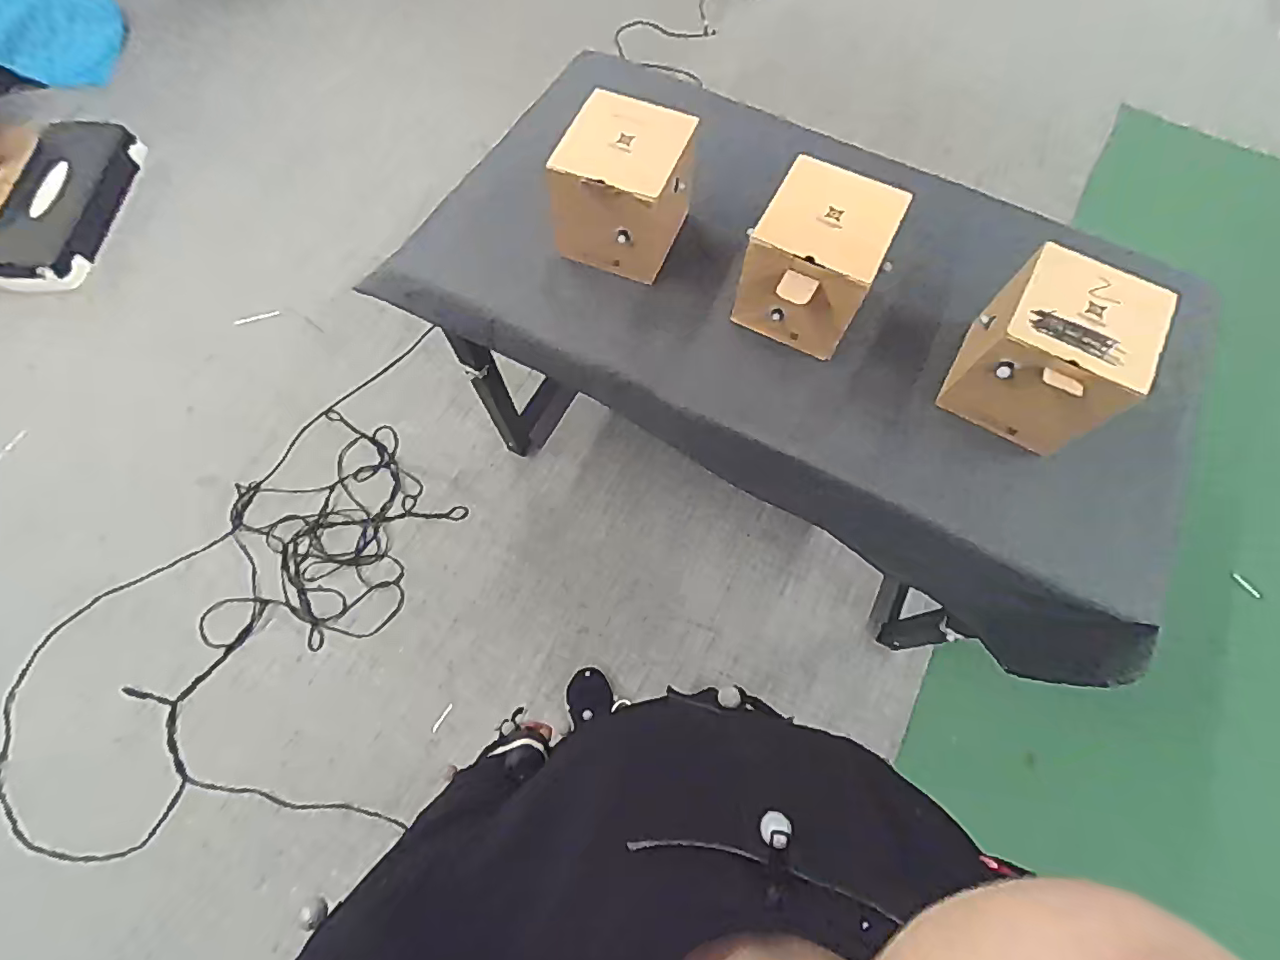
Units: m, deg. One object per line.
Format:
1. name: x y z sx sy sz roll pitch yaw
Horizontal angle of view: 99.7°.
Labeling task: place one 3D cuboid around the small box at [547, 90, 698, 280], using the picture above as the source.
1. small box: -0.022 -0.443 0.831 0.168 0.176 0.179 21 69 6

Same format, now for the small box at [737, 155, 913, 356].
1. small box: 0.255 -0.316 0.784 0.168 0.176 0.179 26 71 9
